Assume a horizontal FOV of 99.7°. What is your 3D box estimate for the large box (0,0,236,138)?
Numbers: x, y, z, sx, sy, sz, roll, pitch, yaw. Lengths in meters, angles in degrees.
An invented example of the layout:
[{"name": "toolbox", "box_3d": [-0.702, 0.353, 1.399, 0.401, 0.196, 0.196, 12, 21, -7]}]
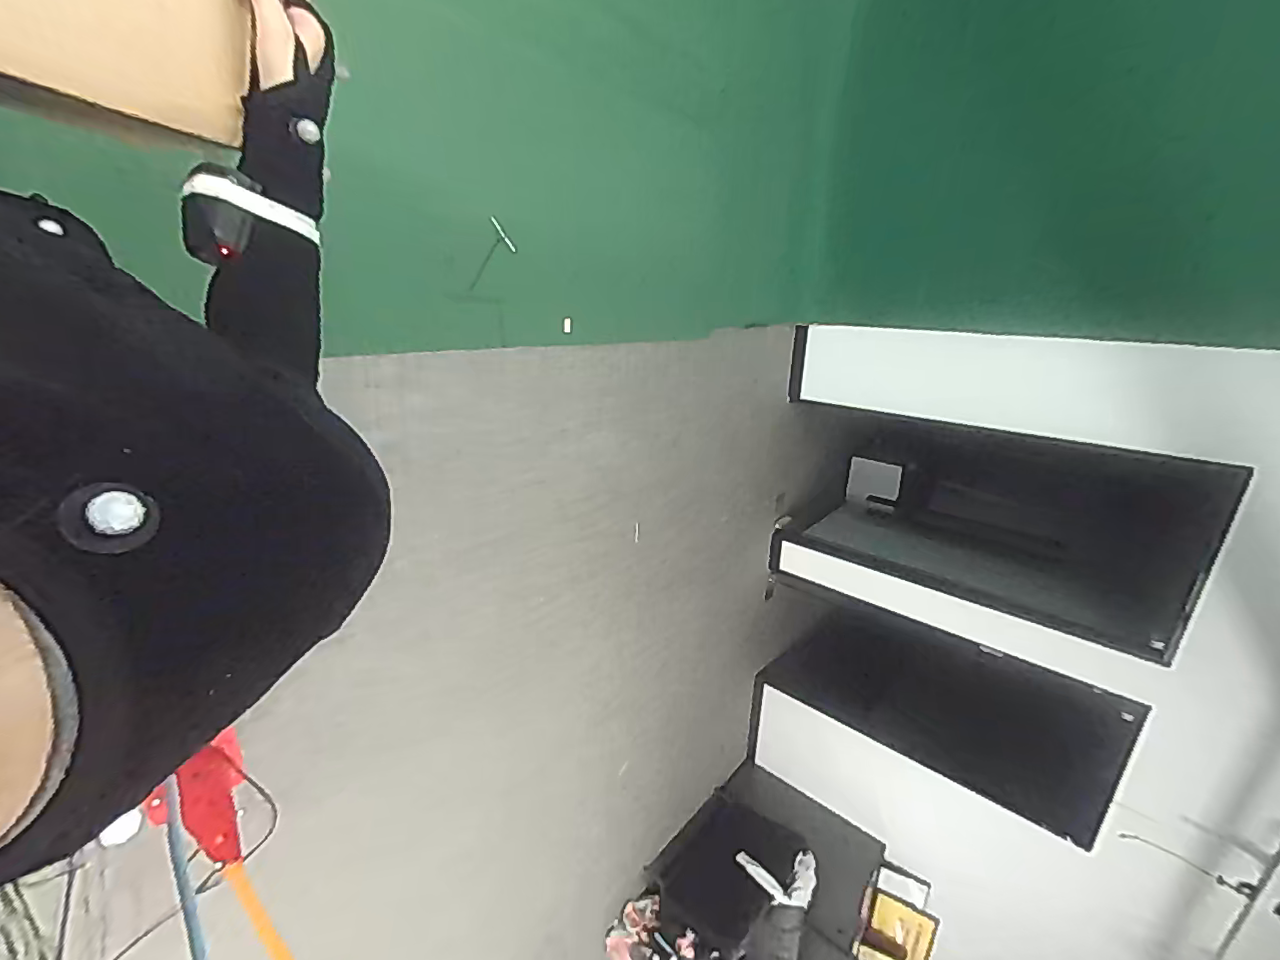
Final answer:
[{"name": "large box", "box_3d": [-0.531, -0.448, 0.324, 0.408, 0.320, 0.320, -9, 117, -51]}]
